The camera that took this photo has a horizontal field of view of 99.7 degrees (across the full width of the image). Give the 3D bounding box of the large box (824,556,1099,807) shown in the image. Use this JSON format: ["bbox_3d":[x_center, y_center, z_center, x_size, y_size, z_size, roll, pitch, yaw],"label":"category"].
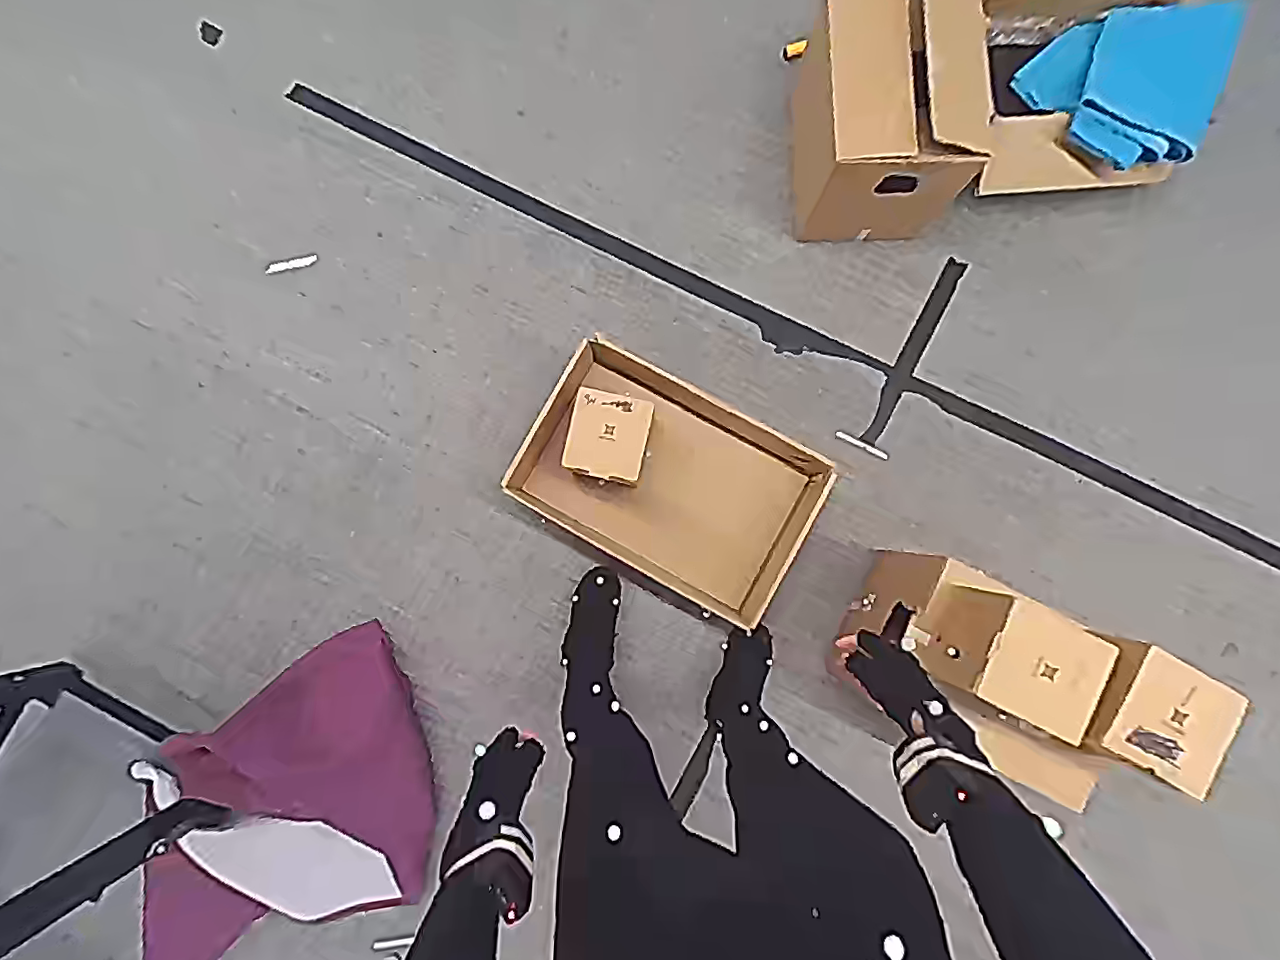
[{"bbox_3d":[0.673,0.385,1.142,0.408,0.320,0.320,27,86,2],"label":"large box"}]

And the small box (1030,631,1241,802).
[{"bbox_3d":[0.800,0.377,0.897,0.168,0.176,0.179,31,84,4],"label":"small box"}]
